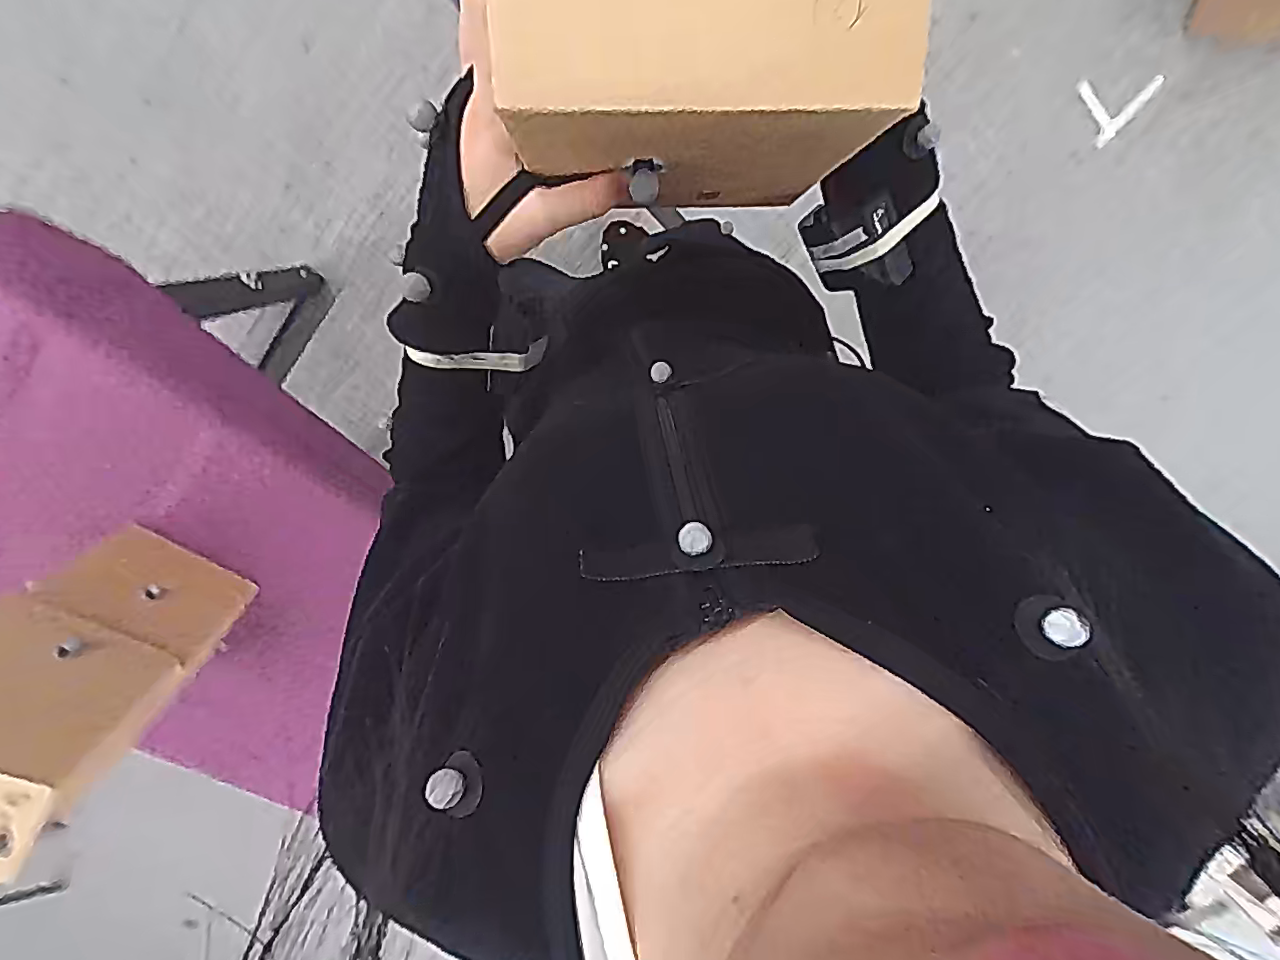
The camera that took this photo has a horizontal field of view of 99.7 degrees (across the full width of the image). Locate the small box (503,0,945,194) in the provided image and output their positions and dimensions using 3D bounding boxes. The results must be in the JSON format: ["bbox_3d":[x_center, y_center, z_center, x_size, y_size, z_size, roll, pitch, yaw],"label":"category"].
[{"bbox_3d":[0.030,-0.251,0.261,0.168,0.176,0.179,-1,104,-2],"label":"small box"}]

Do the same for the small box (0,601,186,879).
[{"bbox_3d":[-0.636,0.253,0.554,0.179,0.176,0.168,33,108,-18],"label":"small box"}]
